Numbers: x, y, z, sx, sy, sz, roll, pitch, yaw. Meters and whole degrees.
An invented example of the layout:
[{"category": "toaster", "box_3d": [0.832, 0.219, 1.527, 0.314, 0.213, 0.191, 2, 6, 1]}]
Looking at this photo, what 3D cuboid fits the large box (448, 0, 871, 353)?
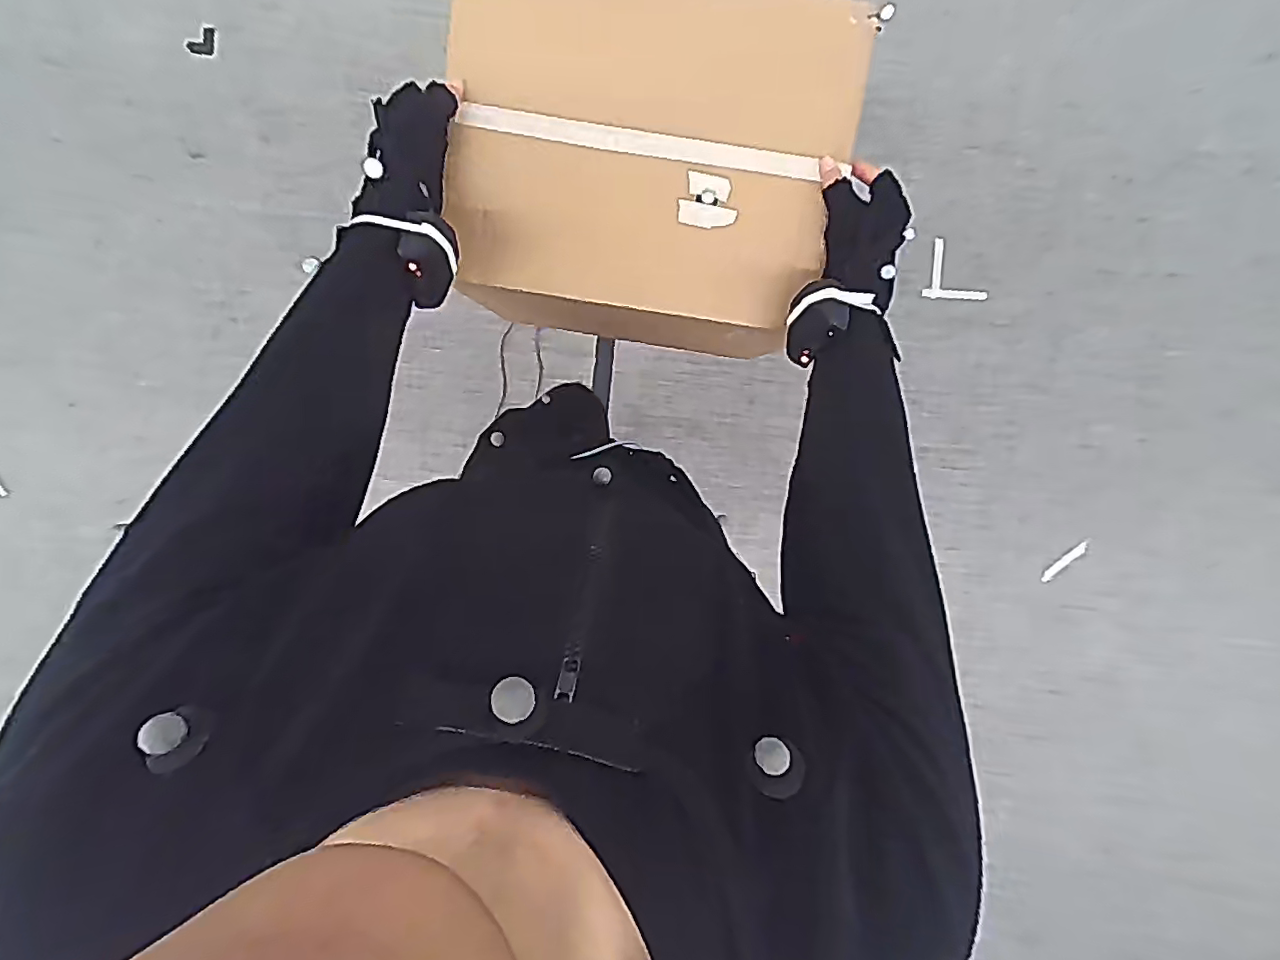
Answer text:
[{"category": "large box", "box_3d": [0.010, -0.357, 0.695, 0.408, 0.320, 0.320, 8, 99, -2]}]
